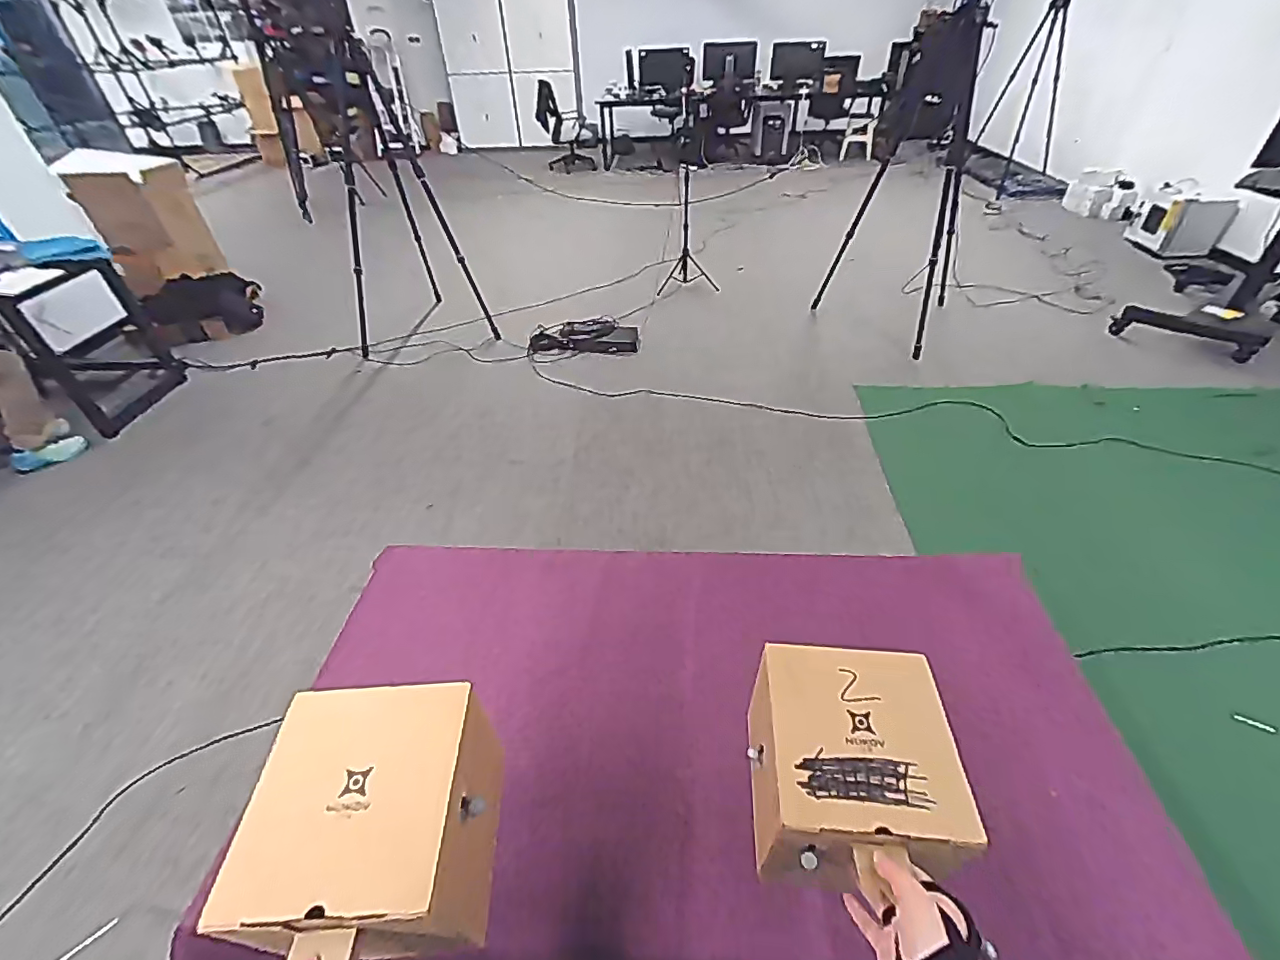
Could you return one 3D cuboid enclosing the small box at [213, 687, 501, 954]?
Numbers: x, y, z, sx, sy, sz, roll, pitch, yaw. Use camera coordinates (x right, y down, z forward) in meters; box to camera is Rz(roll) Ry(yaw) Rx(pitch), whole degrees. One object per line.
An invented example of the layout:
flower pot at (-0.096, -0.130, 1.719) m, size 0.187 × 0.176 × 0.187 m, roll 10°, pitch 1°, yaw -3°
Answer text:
small box at (-0.236, 0.320, 0.512) m, size 0.168 × 0.176 × 0.179 m, roll -3°, pitch 44°, yaw -1°
